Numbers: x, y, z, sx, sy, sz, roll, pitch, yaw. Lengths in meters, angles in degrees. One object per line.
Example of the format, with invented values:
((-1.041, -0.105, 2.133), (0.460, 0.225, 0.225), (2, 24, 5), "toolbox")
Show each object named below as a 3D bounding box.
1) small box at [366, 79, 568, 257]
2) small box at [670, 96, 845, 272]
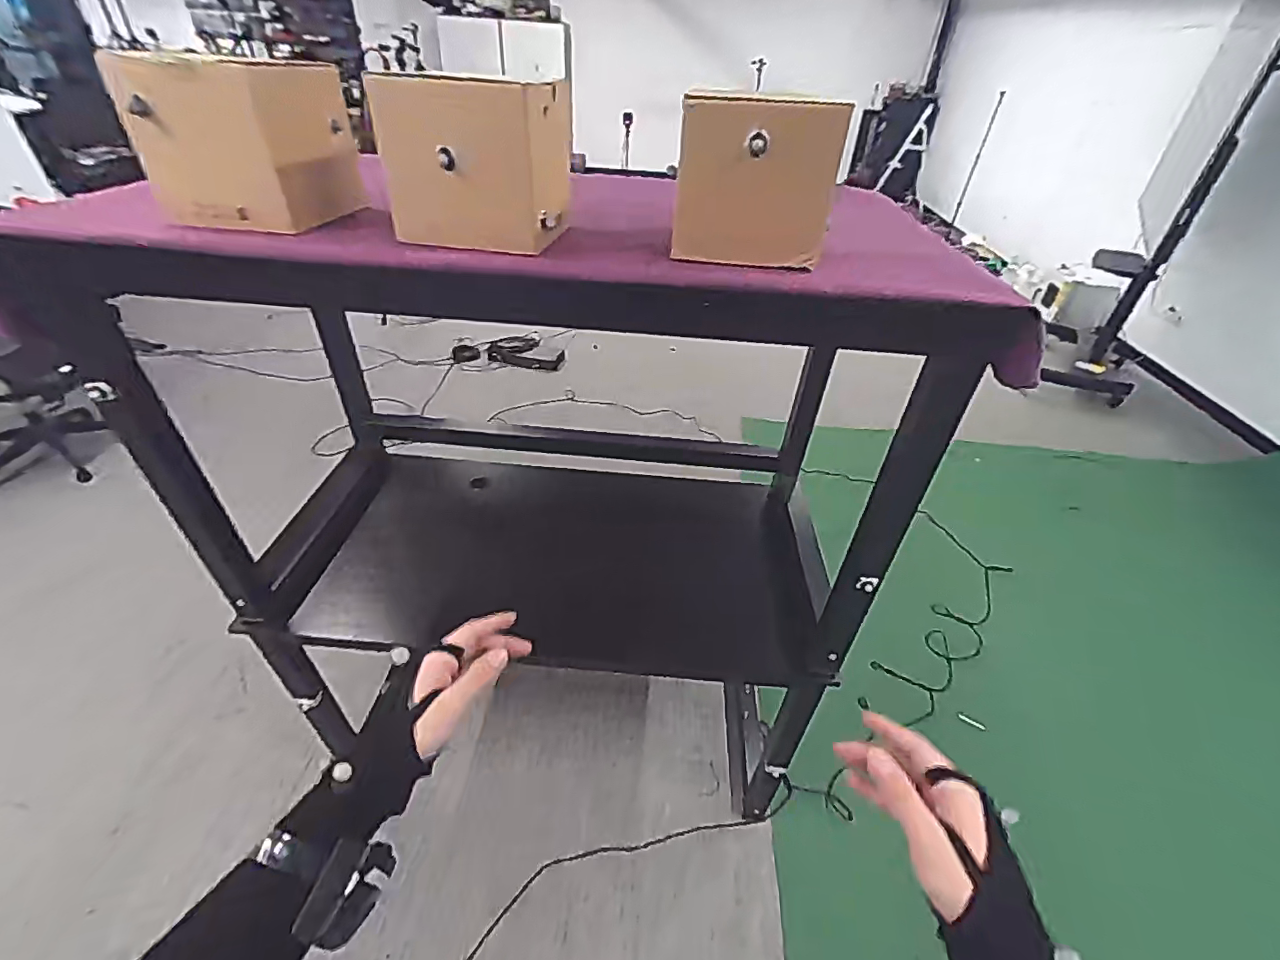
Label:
((-0.192, -0.384, 0.667), (0.179, 0.176, 0.168), (7, 37, 6), "small box")
((0.132, -0.366, 0.667), (0.179, 0.176, 0.168), (6, 38, 5), "small box")
